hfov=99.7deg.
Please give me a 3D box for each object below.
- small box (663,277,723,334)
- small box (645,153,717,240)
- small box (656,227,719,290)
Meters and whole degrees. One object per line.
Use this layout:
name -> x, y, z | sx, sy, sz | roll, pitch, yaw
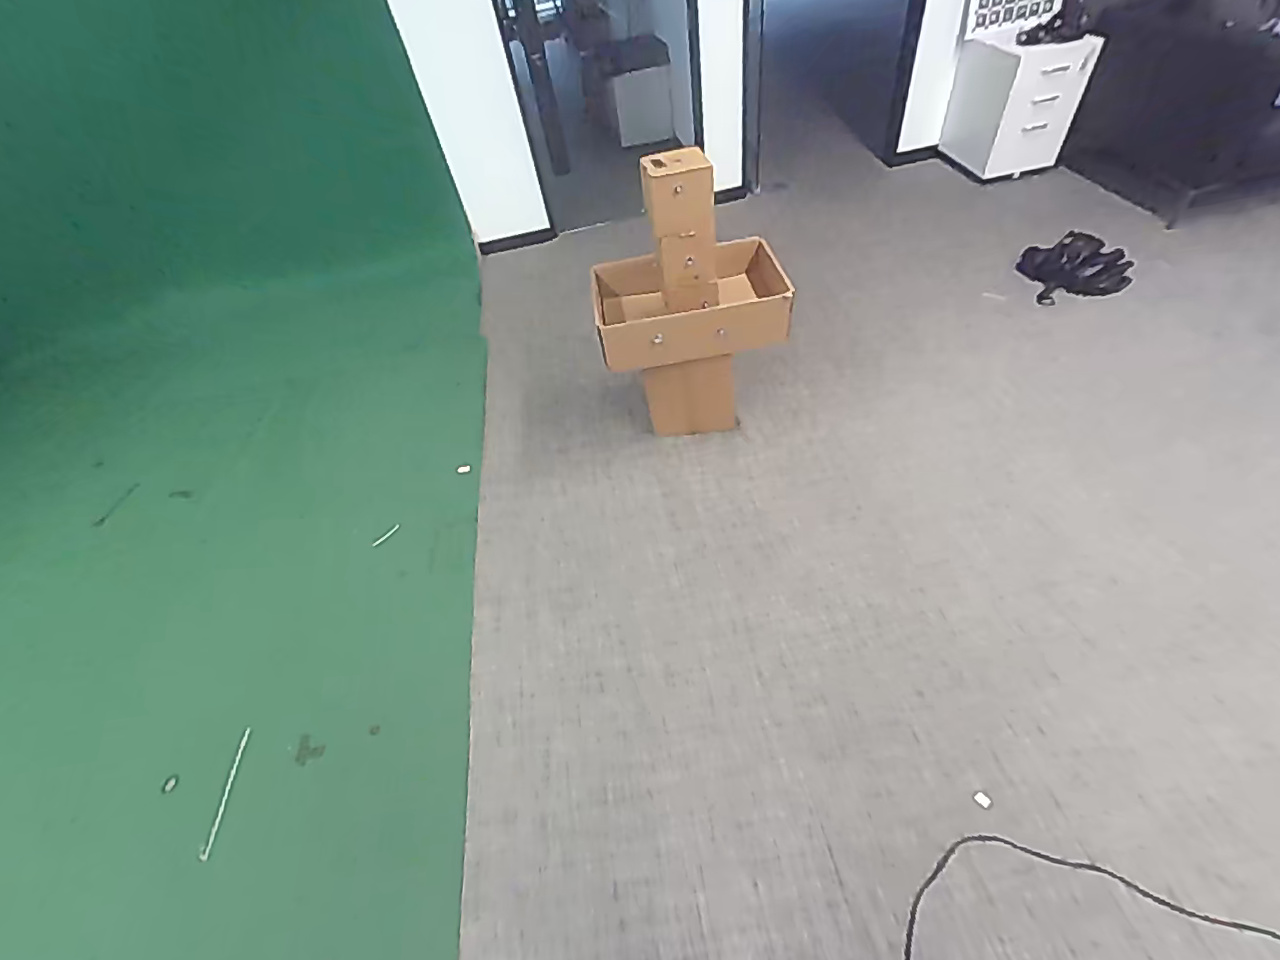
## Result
small box -> 0.179, -0.606, 1.816 | 0.168, 0.176, 0.179 | -11, 46, -1
small box -> 0.123, -0.819, 1.572 | 0.179, 0.176, 0.168 | -12, 48, -2
small box -> 0.150, -0.714, 1.697 | 0.168, 0.176, 0.179 | -11, 49, -1
